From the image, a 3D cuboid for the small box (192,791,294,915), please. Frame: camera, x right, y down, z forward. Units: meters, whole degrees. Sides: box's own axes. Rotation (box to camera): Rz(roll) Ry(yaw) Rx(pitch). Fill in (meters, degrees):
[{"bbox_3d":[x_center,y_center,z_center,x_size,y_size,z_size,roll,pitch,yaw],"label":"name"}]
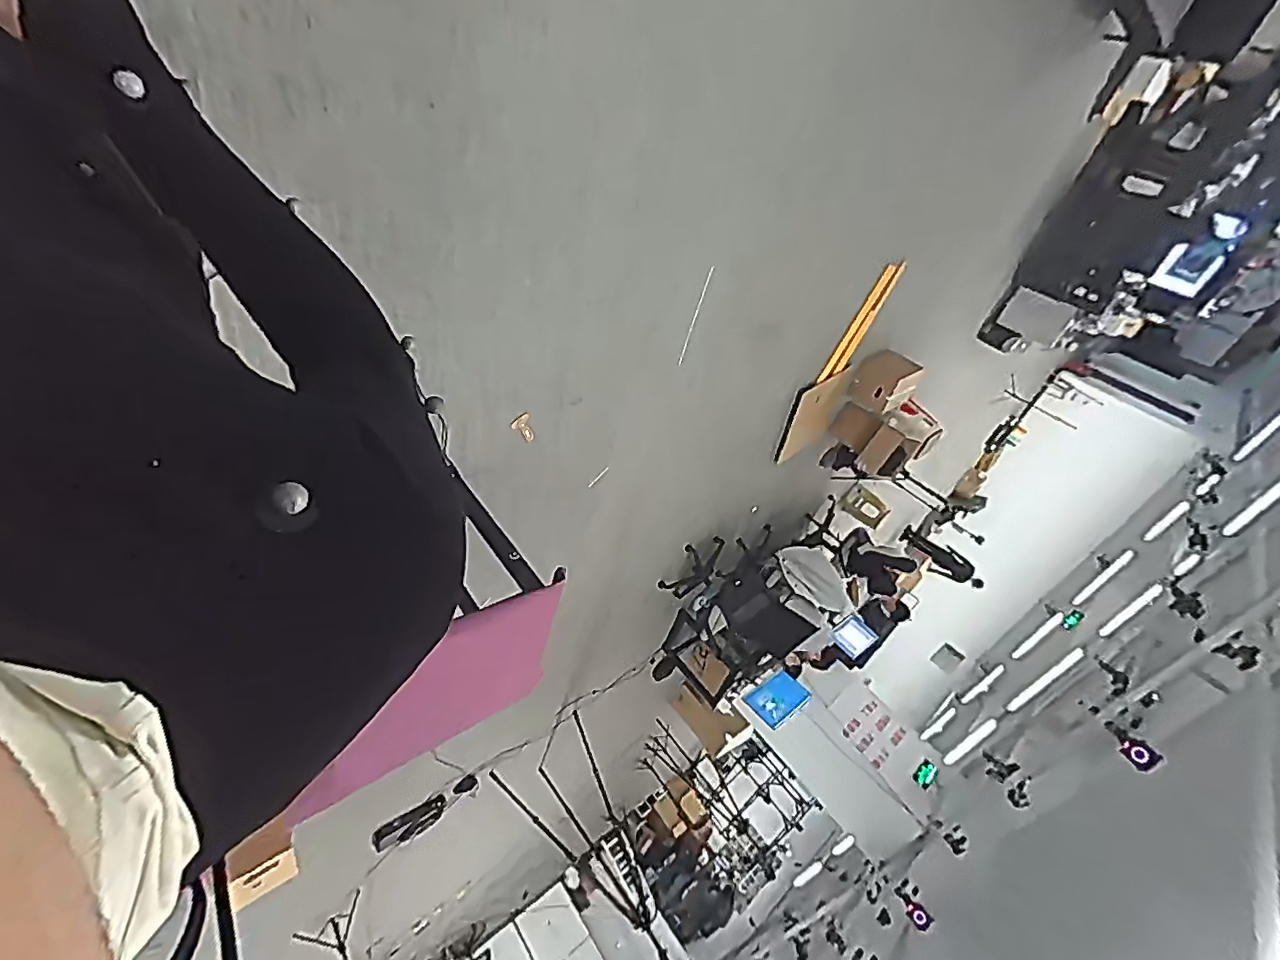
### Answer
[{"bbox_3d":[-0.983,0.914,1.341,0.168,0.176,0.179,-16,139,-40],"label":"small box"}]
